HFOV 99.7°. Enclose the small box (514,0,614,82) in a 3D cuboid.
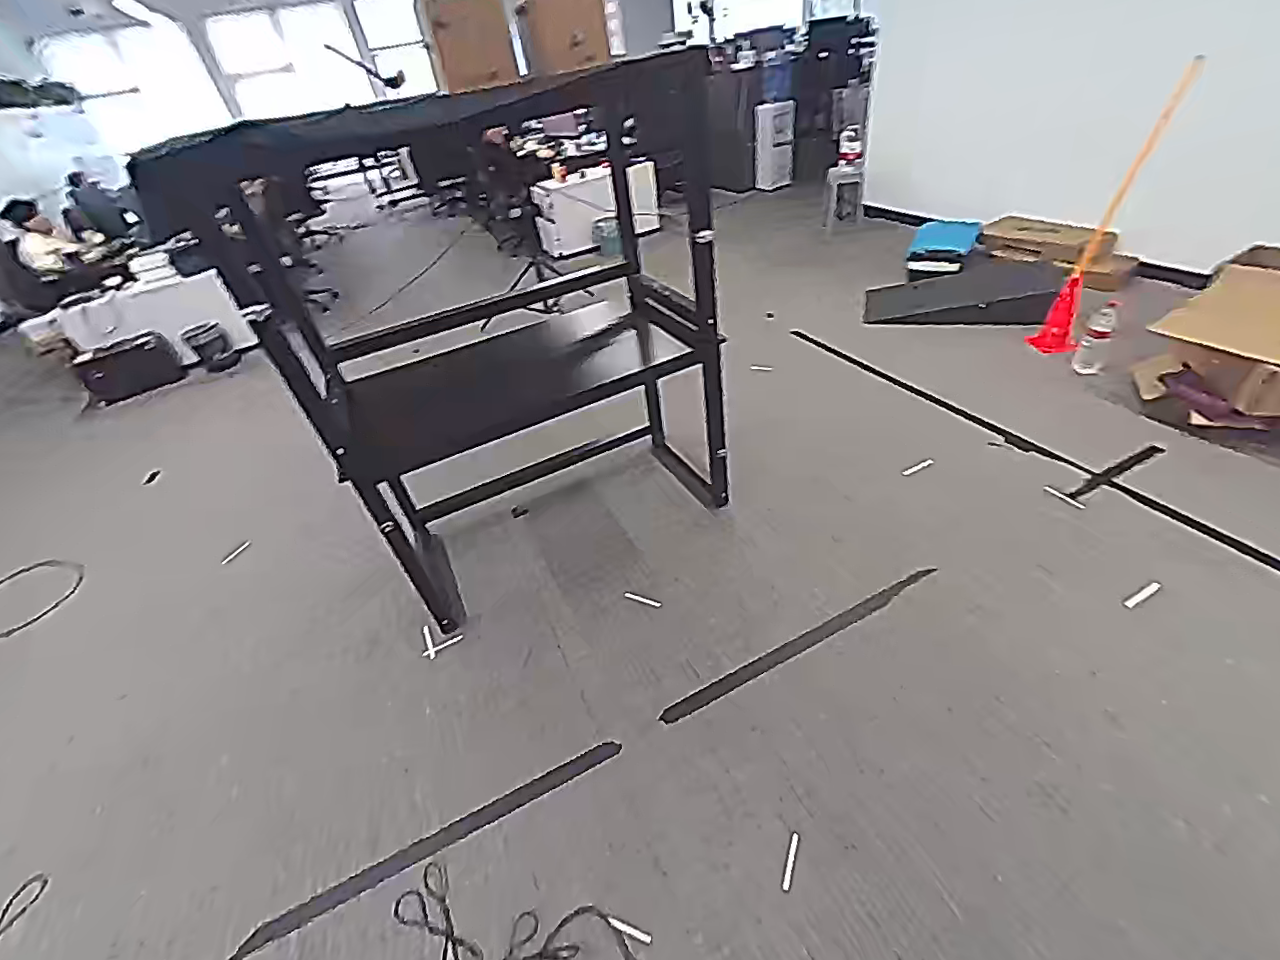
[{"bbox_3d":[-0.174,-1.030,1.239,0.168,0.176,0.179,-23,40,-14],"label":"small box"}]
